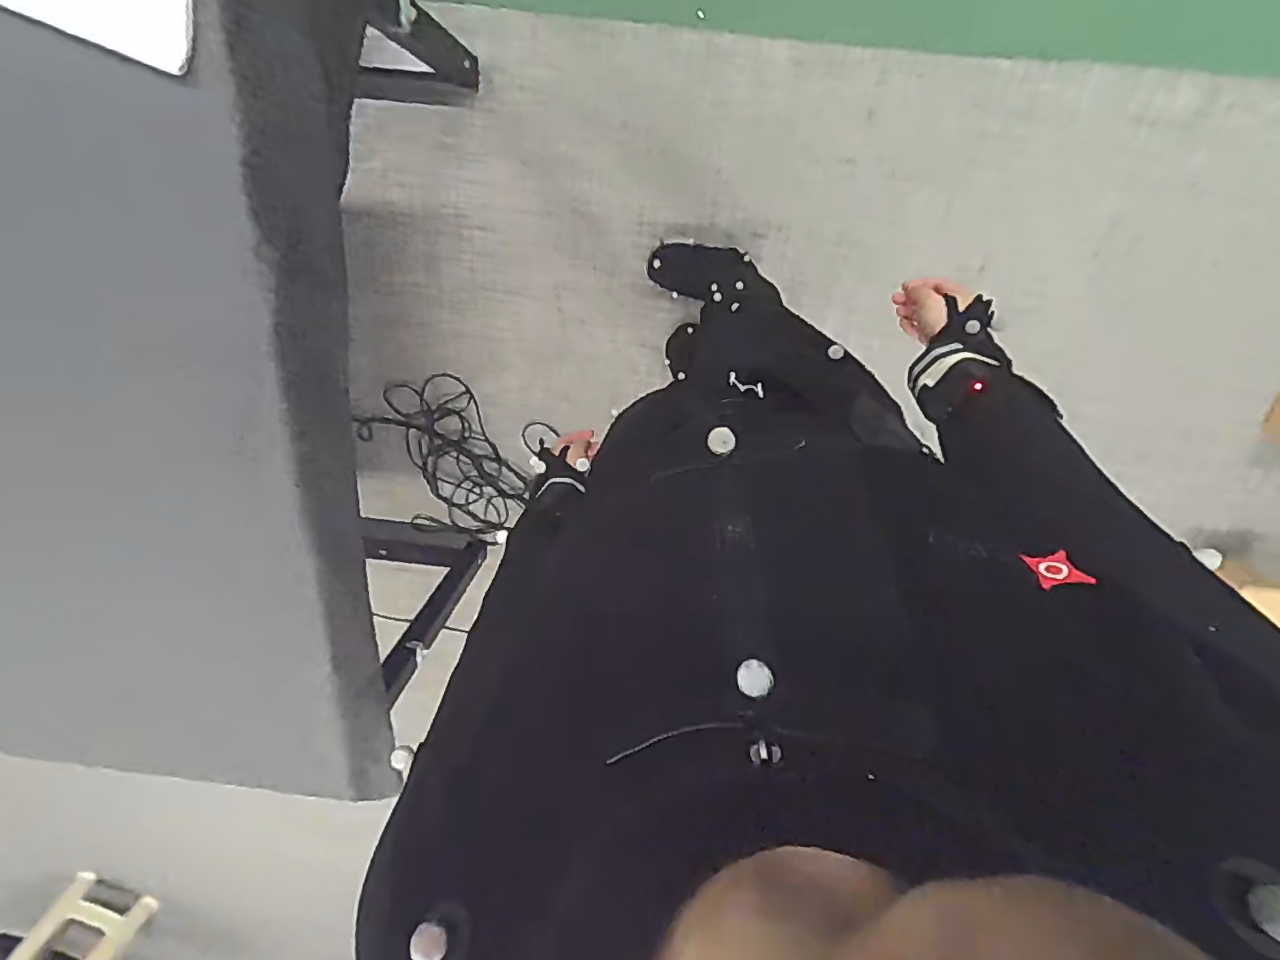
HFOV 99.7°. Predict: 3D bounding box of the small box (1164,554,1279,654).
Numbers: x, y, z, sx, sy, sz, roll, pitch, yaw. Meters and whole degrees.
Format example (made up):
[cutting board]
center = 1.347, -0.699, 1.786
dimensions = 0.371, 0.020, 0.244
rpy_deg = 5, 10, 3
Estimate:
[small box]
center = 1.462, 0.297, 1.328
dimensions = 0.168, 0.176, 0.179
rpy_deg = 4, 114, 3
